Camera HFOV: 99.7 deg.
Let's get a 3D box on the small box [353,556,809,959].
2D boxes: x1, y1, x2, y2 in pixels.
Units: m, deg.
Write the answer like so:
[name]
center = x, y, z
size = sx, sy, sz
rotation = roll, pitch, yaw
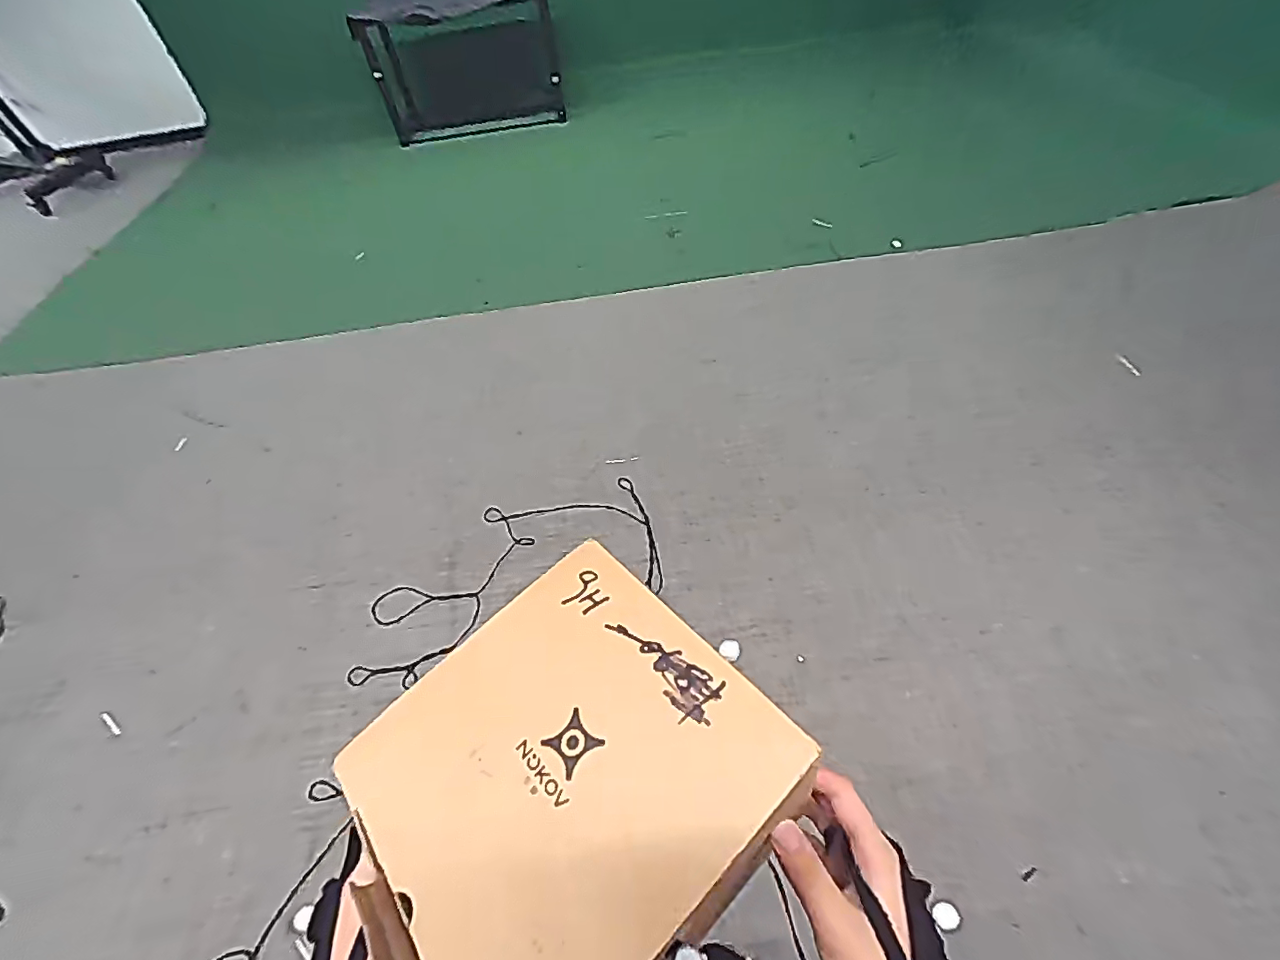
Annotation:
[small box]
center = -0.020, 0.187, 0.322
size = 0.179, 0.176, 0.168
rotation = -40, 54, -18
